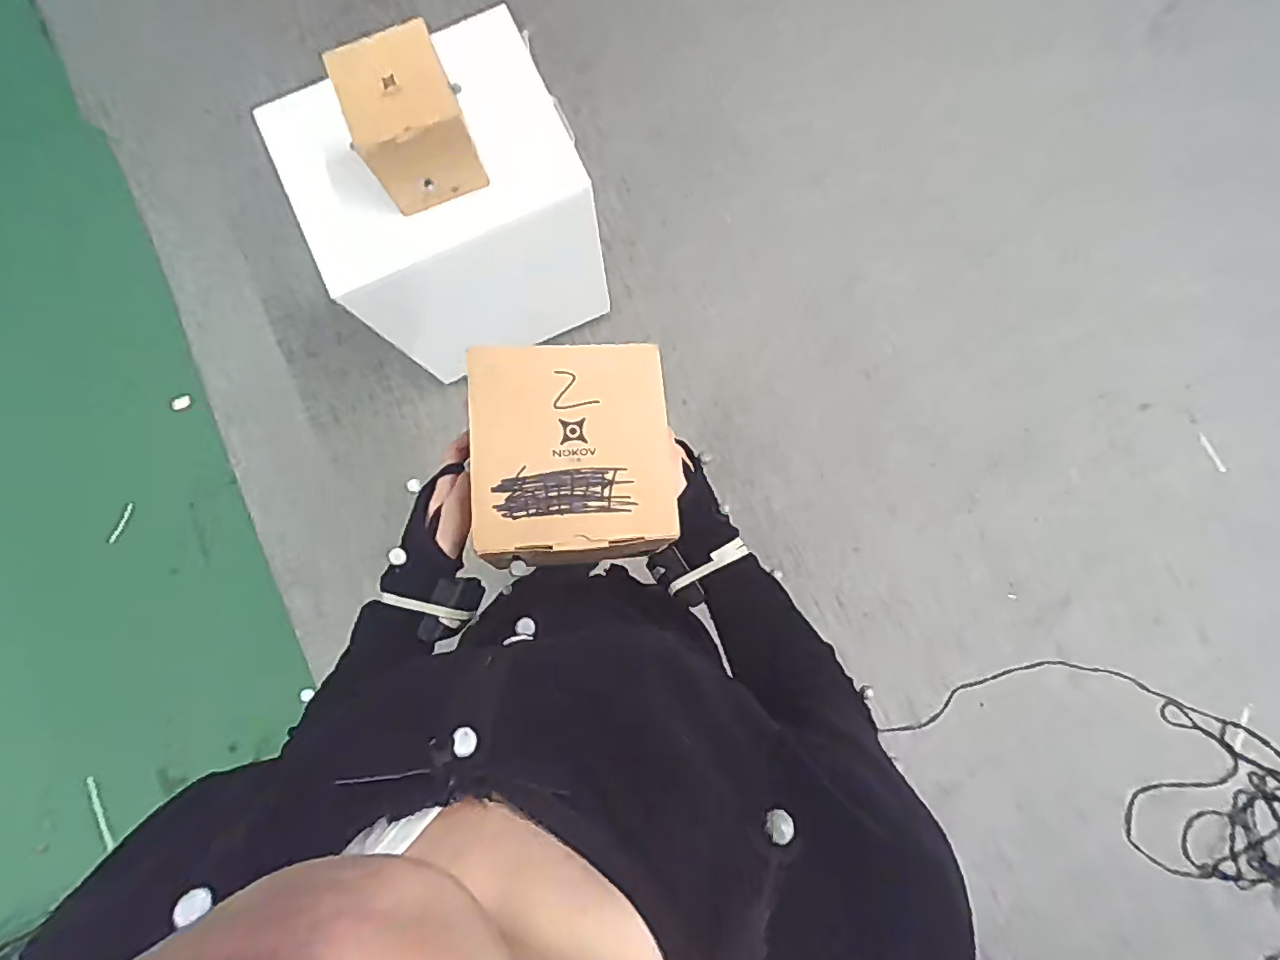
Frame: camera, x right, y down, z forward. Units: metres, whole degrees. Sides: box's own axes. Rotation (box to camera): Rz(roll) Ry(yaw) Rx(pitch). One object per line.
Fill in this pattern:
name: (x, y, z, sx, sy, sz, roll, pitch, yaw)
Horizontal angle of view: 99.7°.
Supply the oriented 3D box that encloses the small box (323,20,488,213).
small box: (-0.374, -0.585, 0.892, 0.168, 0.176, 0.179, -22, 85, -2)
